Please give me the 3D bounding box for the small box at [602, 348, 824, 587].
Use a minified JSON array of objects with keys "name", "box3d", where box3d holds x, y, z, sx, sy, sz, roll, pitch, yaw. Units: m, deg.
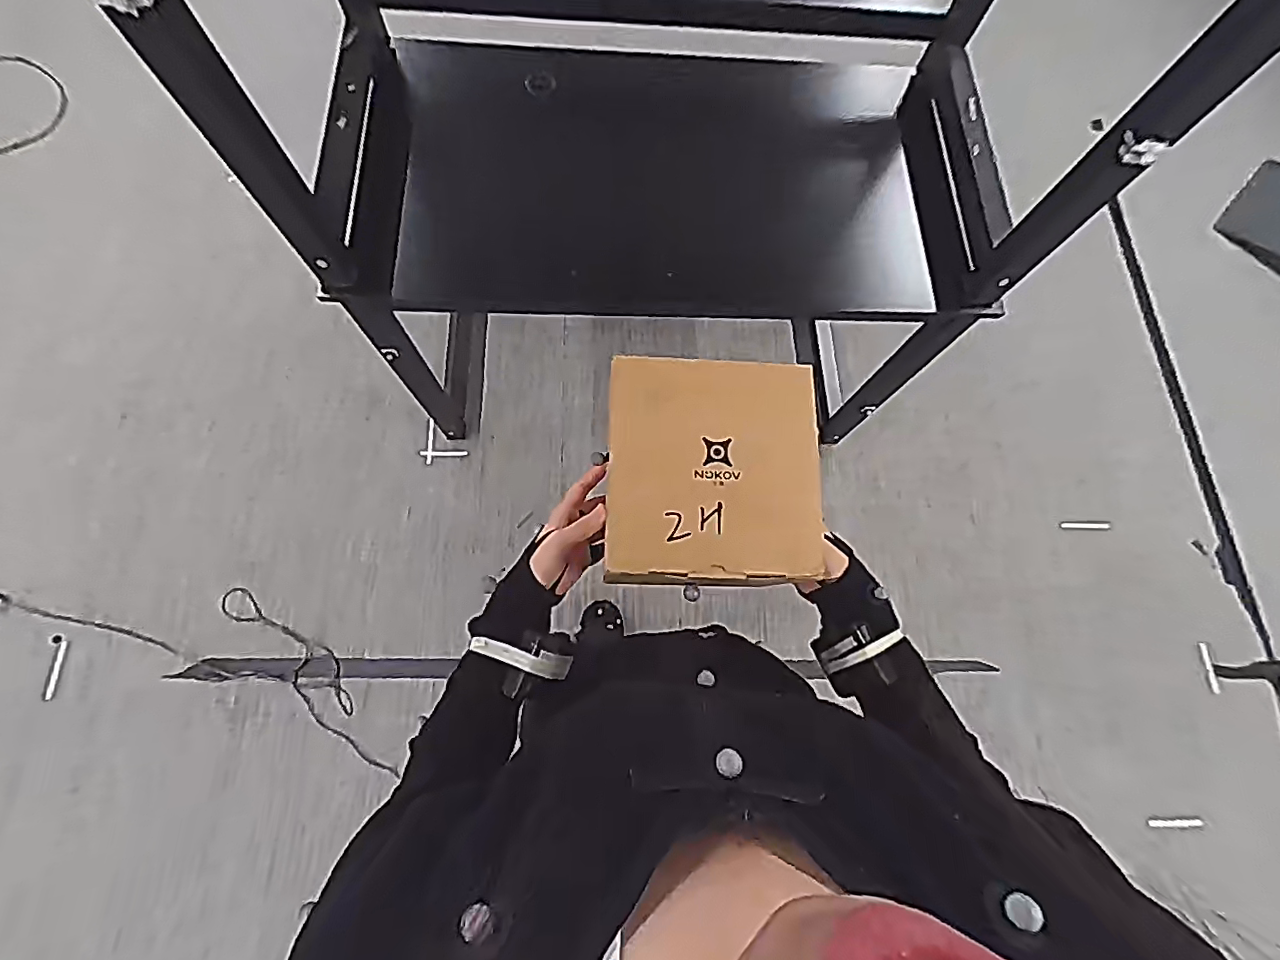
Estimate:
[{"name":"small box","box3d":[0.051,0.001,0.494,0.168,0.176,0.179,2,75,-3]}]
